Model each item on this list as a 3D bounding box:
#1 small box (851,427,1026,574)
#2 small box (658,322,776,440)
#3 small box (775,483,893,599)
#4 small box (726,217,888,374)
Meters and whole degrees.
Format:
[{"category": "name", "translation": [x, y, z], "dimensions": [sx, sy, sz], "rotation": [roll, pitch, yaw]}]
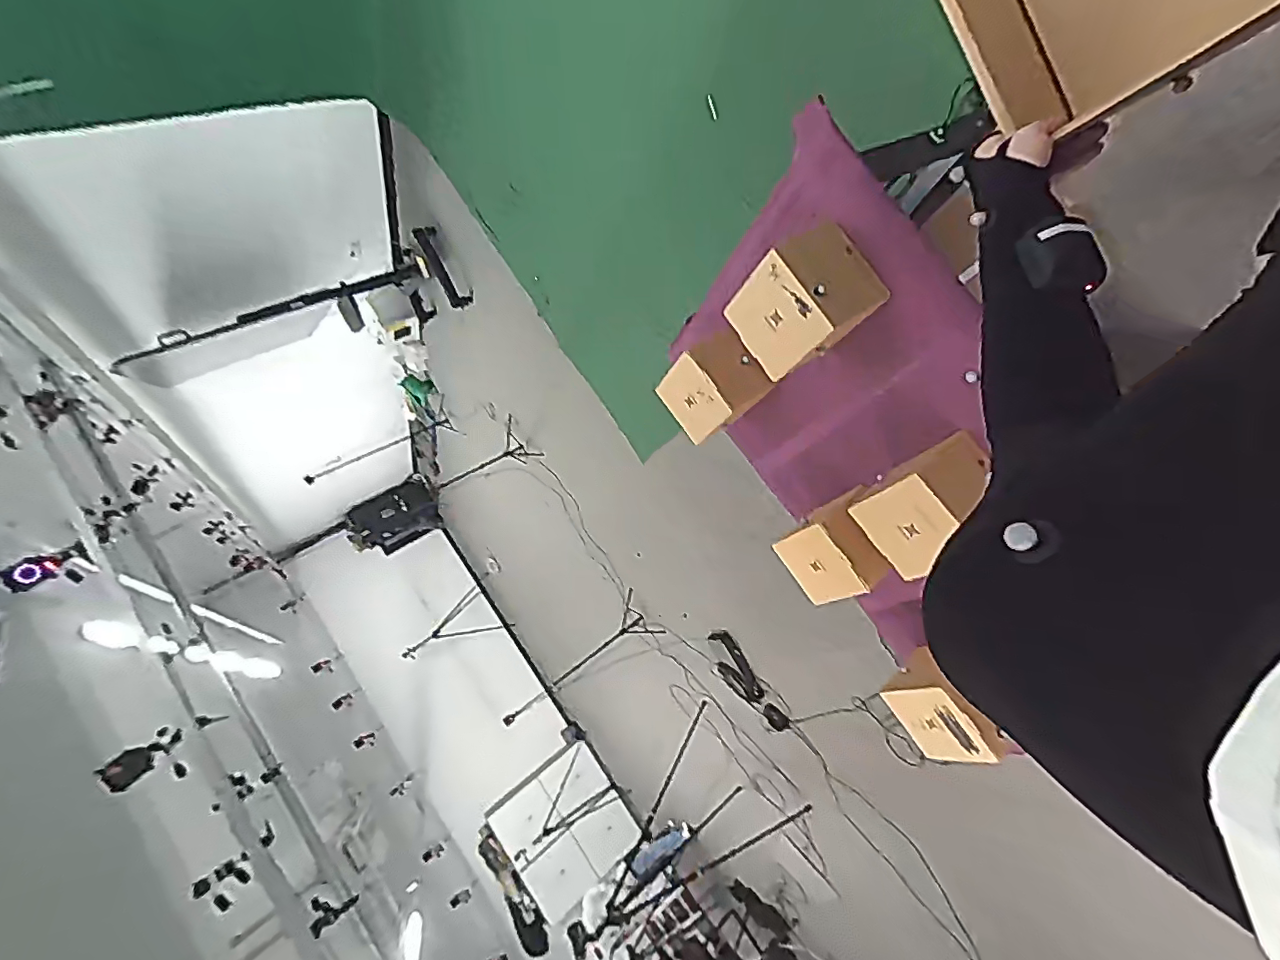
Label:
[{"category": "small box", "translation": [0.522, 0.038, 0.950], "dimensions": [0.168, 0.176, 0.179], "rotation": [53, 152, 8]}, {"category": "small box", "translation": [0.177, -0.225, 1.231], "dimensions": [0.168, 0.176, 0.179], "rotation": [53, 150, 4]}, {"category": "small box", "translation": [0.438, 0.134, 1.177], "dimensions": [0.168, 0.176, 0.179], "rotation": [55, 150, 7]}, {"category": "small box", "translation": [0.292, -0.323, 0.955], "dimensions": [0.168, 0.176, 0.179], "rotation": [54, 154, 4]}]
